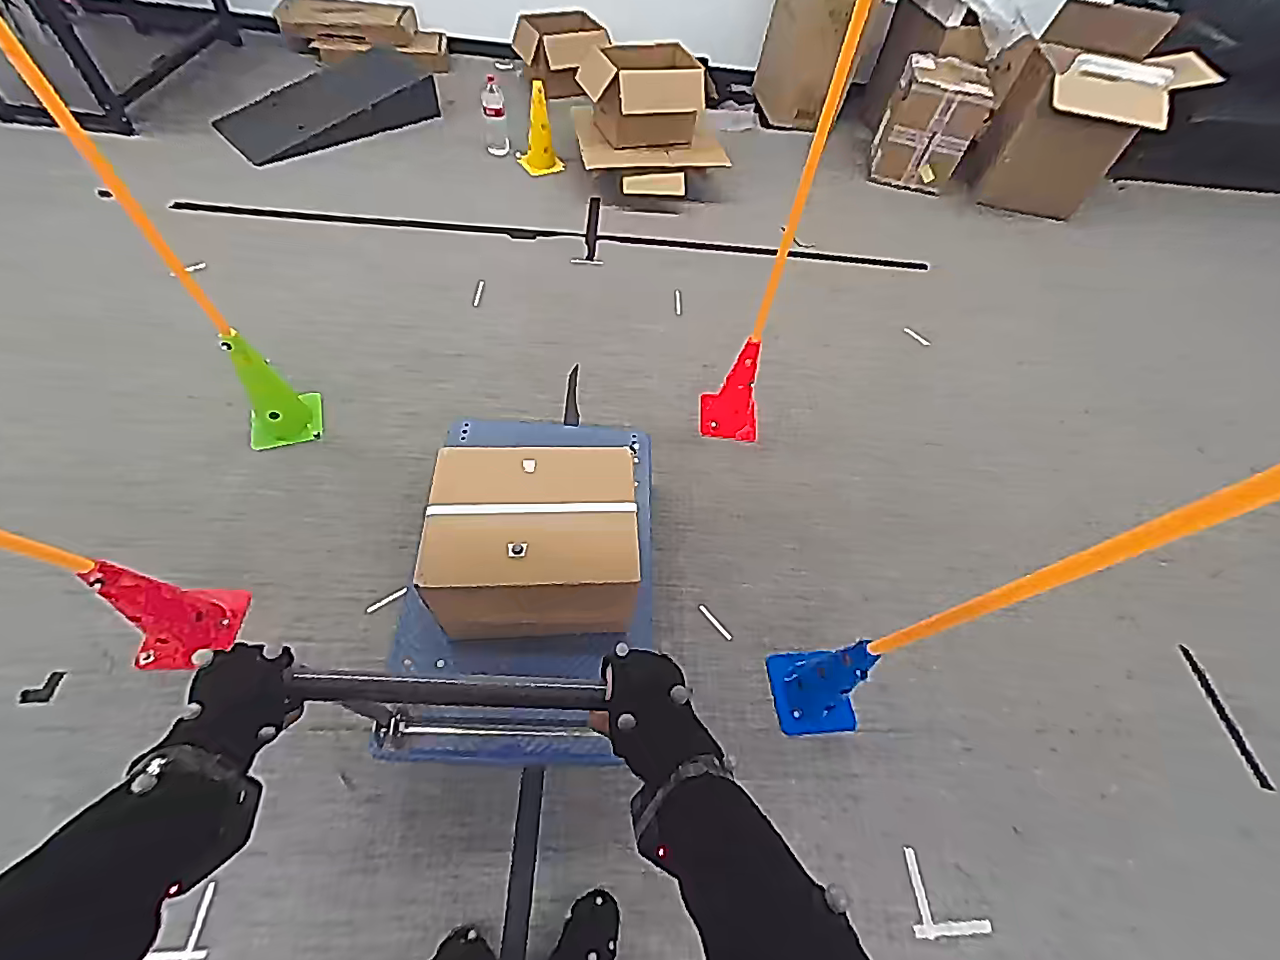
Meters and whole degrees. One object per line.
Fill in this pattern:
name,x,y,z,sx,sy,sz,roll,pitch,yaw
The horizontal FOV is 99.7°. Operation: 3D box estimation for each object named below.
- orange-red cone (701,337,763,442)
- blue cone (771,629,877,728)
orange-red cone,0.333,-0.317,1.755,0.199,0.360,0.198,9,56,-2
blue cone,0.462,0.443,1.268,0.193,0.380,0.192,0,55,-7
